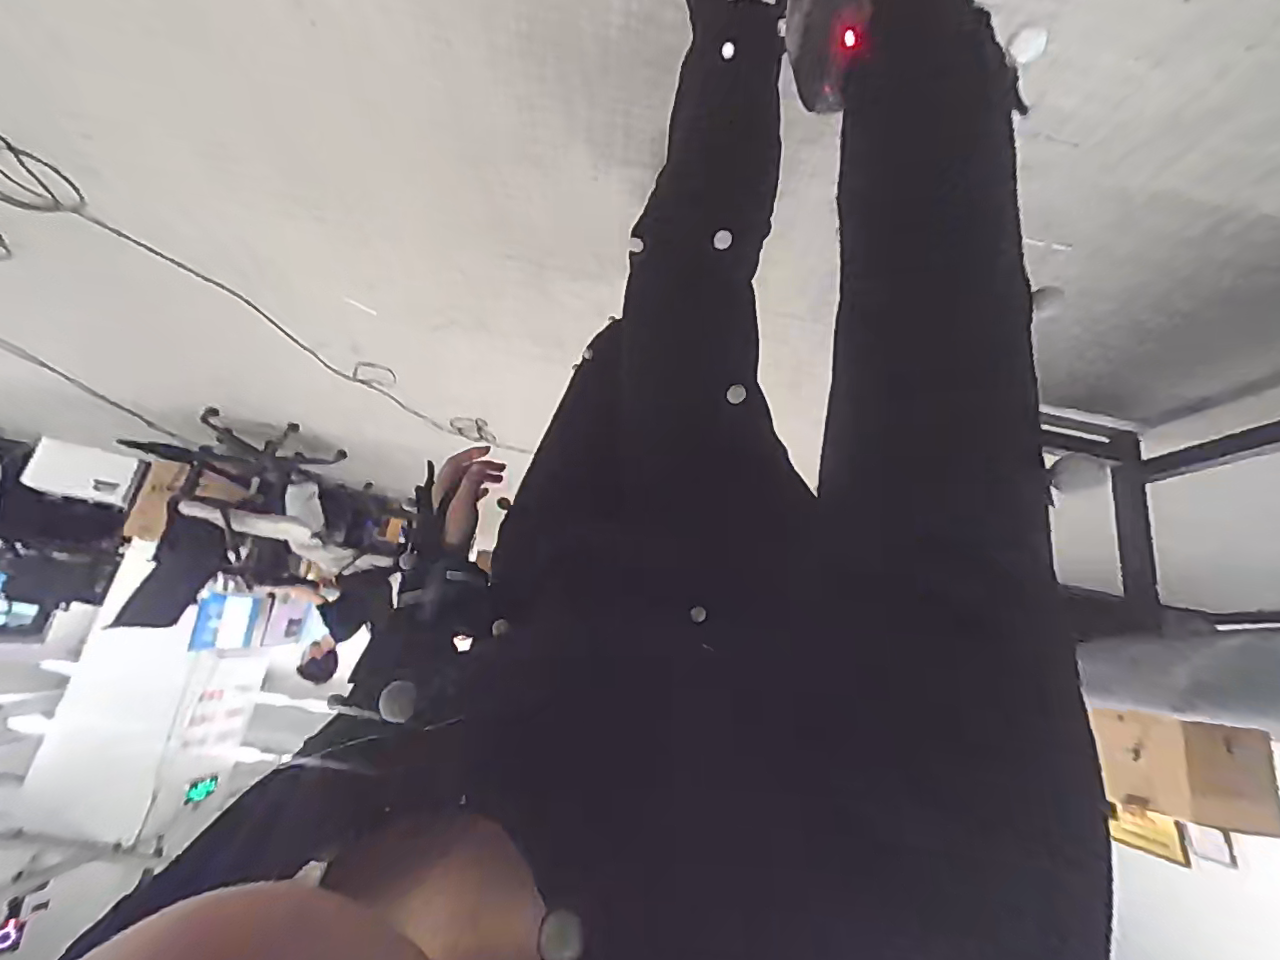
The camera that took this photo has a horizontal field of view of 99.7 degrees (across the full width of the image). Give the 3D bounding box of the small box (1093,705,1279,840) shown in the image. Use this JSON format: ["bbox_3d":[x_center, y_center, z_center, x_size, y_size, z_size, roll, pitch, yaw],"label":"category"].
[{"bbox_3d":[0.952,0.504,0.956,0.179,0.176,0.168,11,162,-5],"label":"small box"}]
